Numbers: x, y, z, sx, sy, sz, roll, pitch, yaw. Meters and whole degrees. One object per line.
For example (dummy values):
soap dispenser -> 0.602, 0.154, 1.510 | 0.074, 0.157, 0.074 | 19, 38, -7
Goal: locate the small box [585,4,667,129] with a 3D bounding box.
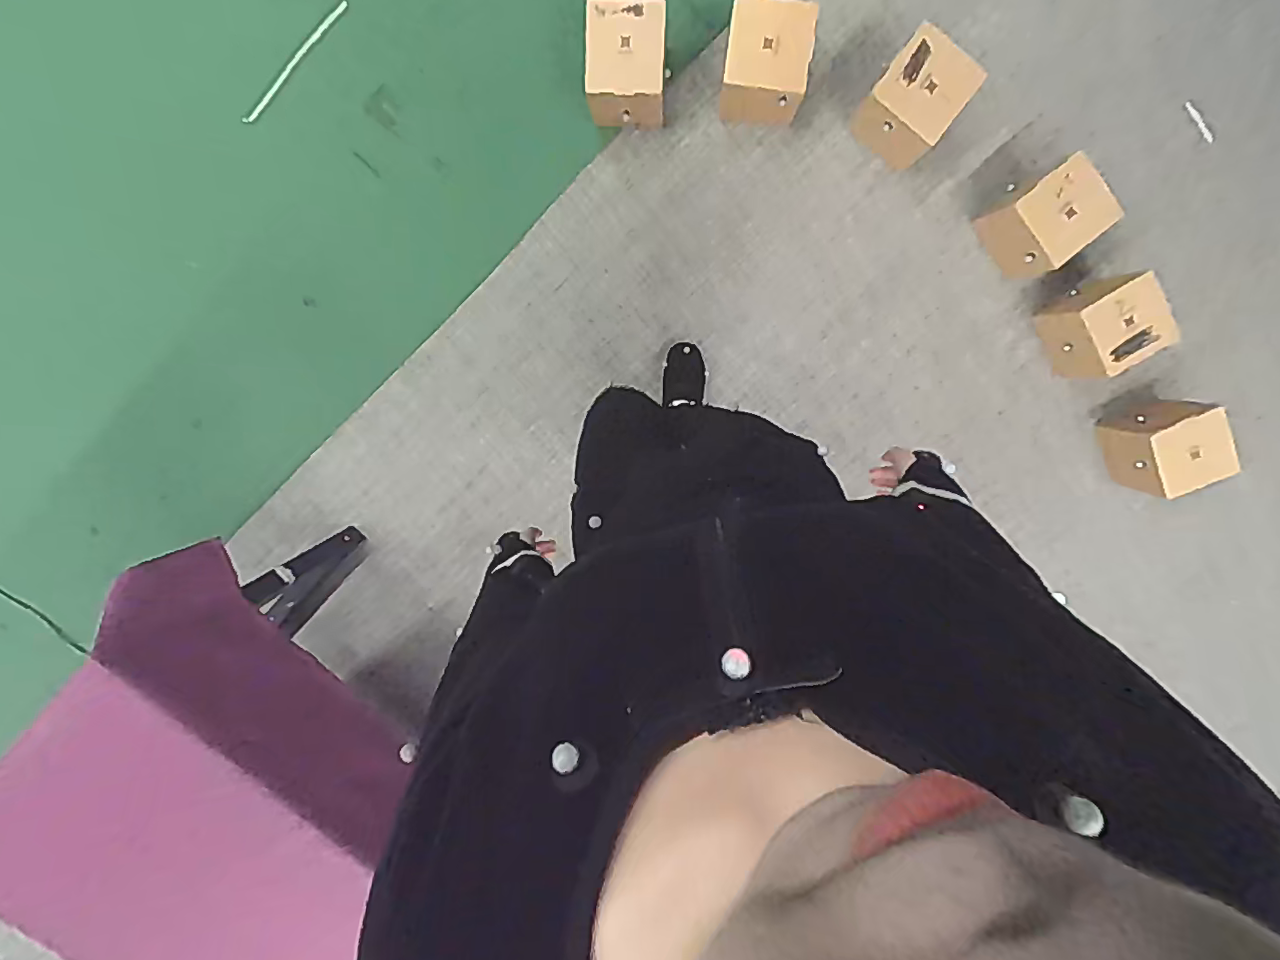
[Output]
small box -> -0.027, -0.906, 1.200 | 0.168, 0.176, 0.179 | 3, 103, 2

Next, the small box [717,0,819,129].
small box -> 0.271, -0.902, 1.189 | 0.179, 0.176, 0.168 | 8, 102, 1

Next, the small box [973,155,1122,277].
small box -> 0.910, -0.583, 1.226 | 0.168, 0.176, 0.179 | -40, 98, 10

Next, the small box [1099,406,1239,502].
small box -> 1.284, -0.073, 1.325 | 0.168, 0.176, 0.179 | -24, 101, 8
